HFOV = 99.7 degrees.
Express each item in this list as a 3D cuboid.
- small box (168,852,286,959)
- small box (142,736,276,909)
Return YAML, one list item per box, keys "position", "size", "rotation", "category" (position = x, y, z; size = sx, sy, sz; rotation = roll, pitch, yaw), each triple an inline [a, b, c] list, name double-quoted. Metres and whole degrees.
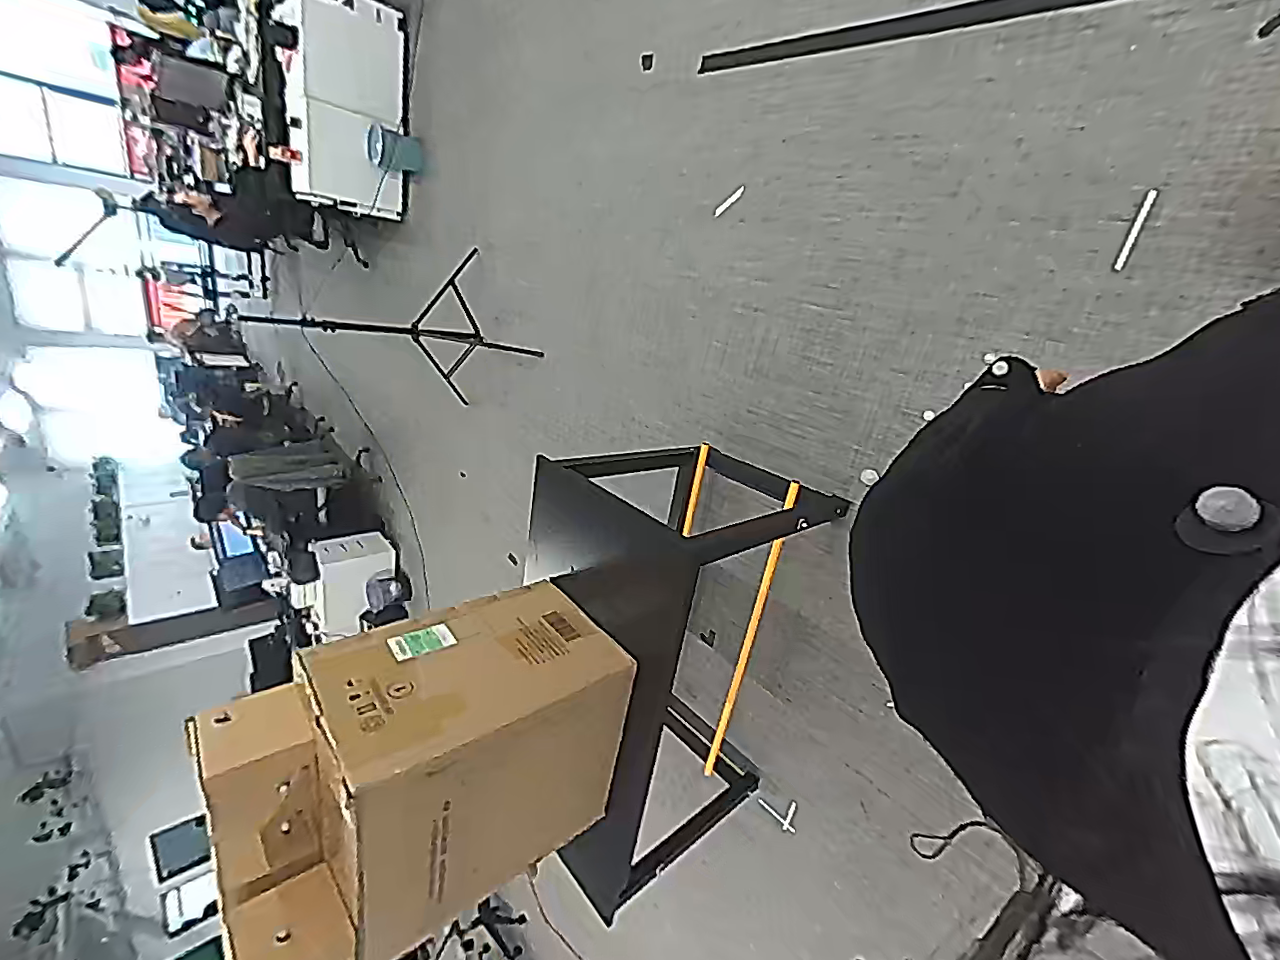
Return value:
- position: [-0.805, 0.861, 1.059]
  size: [0.168, 0.176, 0.179]
  rotation: [31, 117, 41]
  category: "small box"
- position: [-0.765, 0.592, 0.968]
  size: [0.179, 0.176, 0.168]
  rotation: [29, 118, 43]
  category: "small box"
